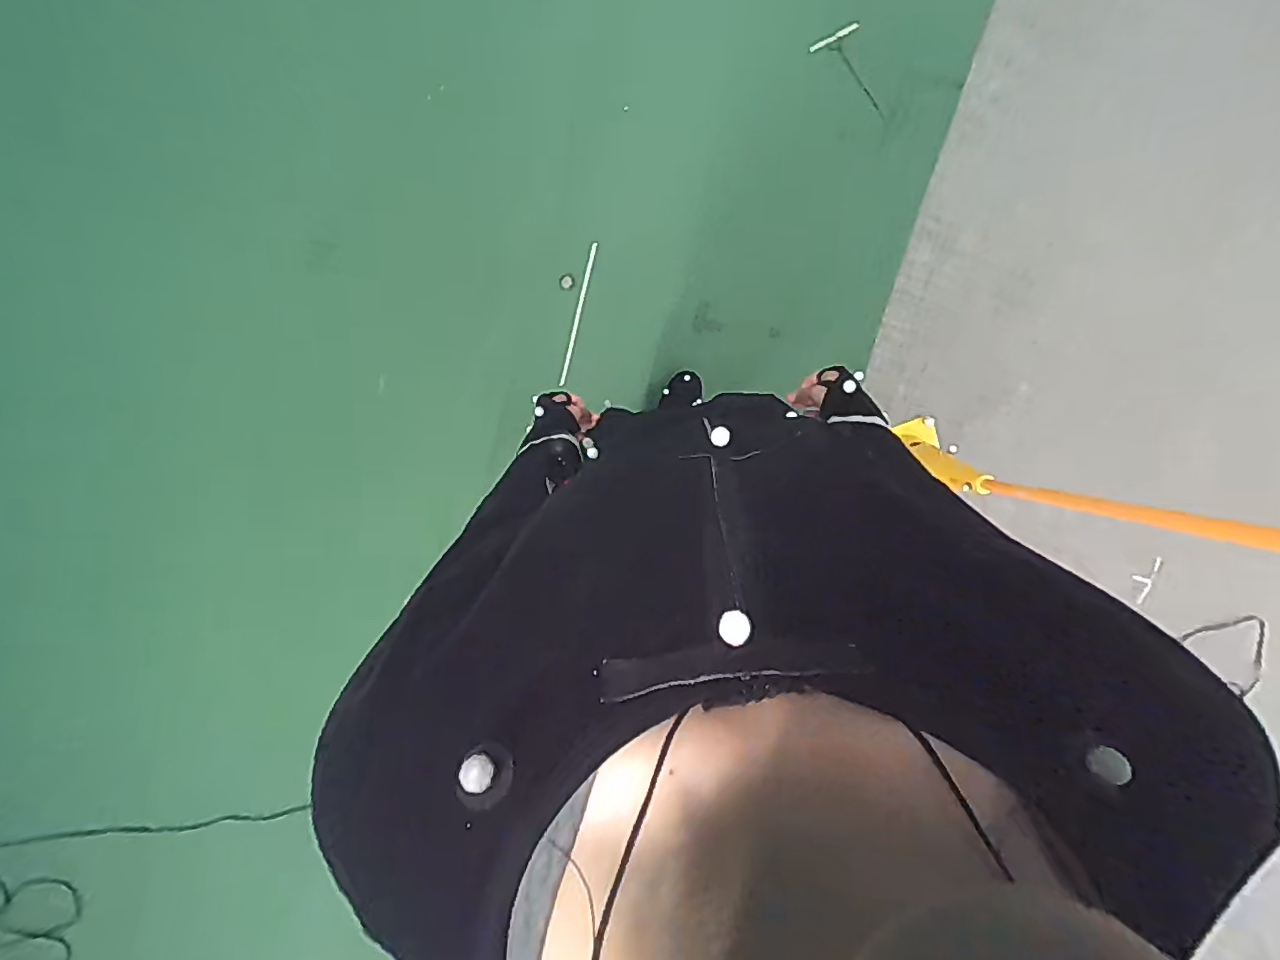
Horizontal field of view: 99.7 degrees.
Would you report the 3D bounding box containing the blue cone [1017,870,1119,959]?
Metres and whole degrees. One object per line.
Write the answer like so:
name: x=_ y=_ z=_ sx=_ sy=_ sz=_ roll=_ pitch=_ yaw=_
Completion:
blue cone: x=1.323 y=1.374 z=1.565 sx=0.192 sy=0.380 sz=0.193 roll=-29 pitch=101 yaw=5
